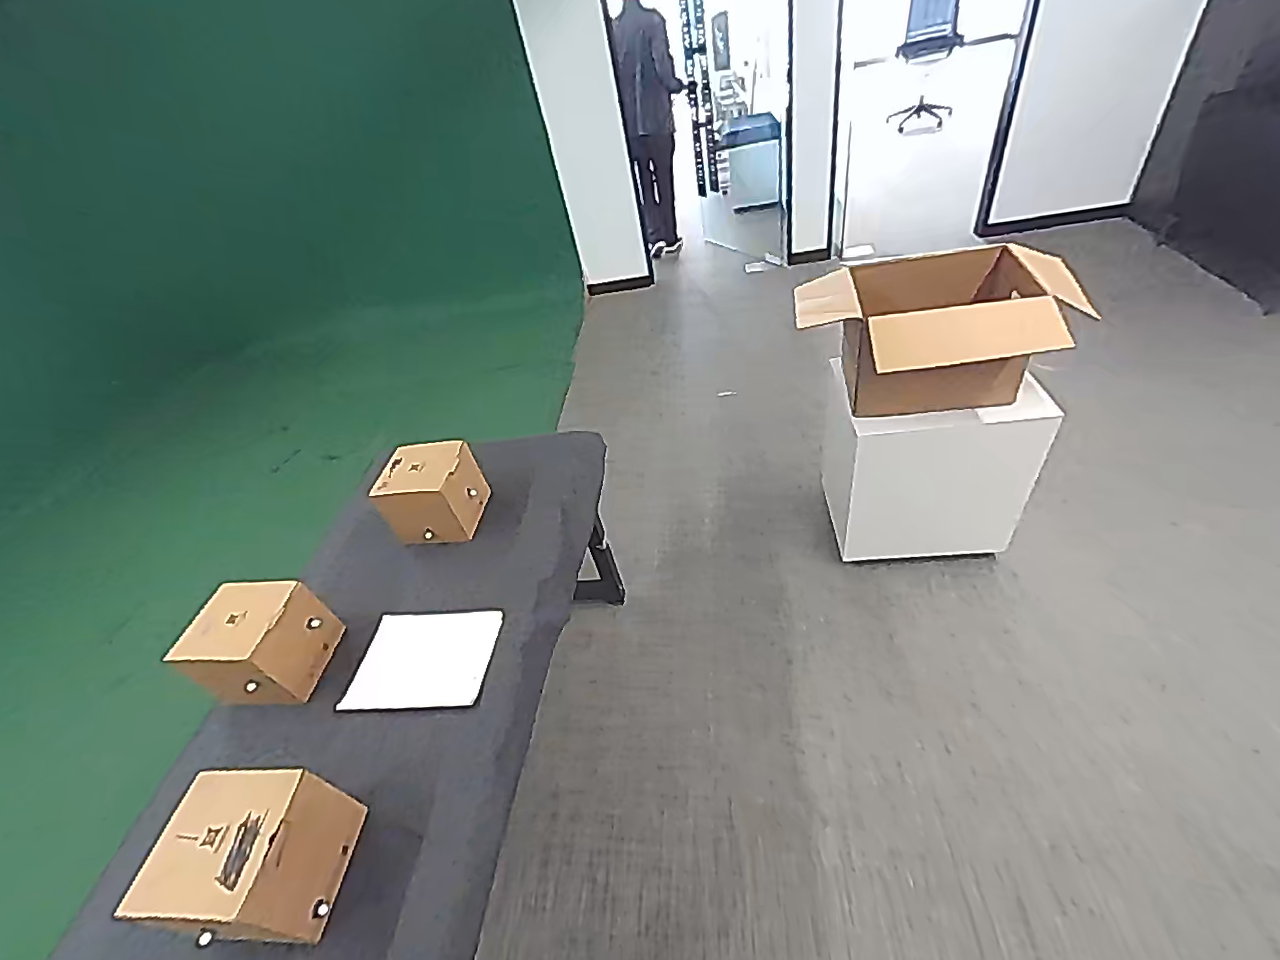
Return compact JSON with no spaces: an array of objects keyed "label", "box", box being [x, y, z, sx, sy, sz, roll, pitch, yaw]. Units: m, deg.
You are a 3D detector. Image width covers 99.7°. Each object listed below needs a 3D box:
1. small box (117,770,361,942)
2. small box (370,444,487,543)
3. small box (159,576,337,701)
[{"label":"small box","box":[-0.531,0.520,0.750,0.179,0.176,0.168,-5,42,9]},{"label":"small box","box":[-0.480,0.034,1.262,0.179,0.176,0.168,-3,43,10]},{"label":"small box","box":[-0.717,0.299,1.017,0.179,0.176,0.168,-5,42,10]}]
